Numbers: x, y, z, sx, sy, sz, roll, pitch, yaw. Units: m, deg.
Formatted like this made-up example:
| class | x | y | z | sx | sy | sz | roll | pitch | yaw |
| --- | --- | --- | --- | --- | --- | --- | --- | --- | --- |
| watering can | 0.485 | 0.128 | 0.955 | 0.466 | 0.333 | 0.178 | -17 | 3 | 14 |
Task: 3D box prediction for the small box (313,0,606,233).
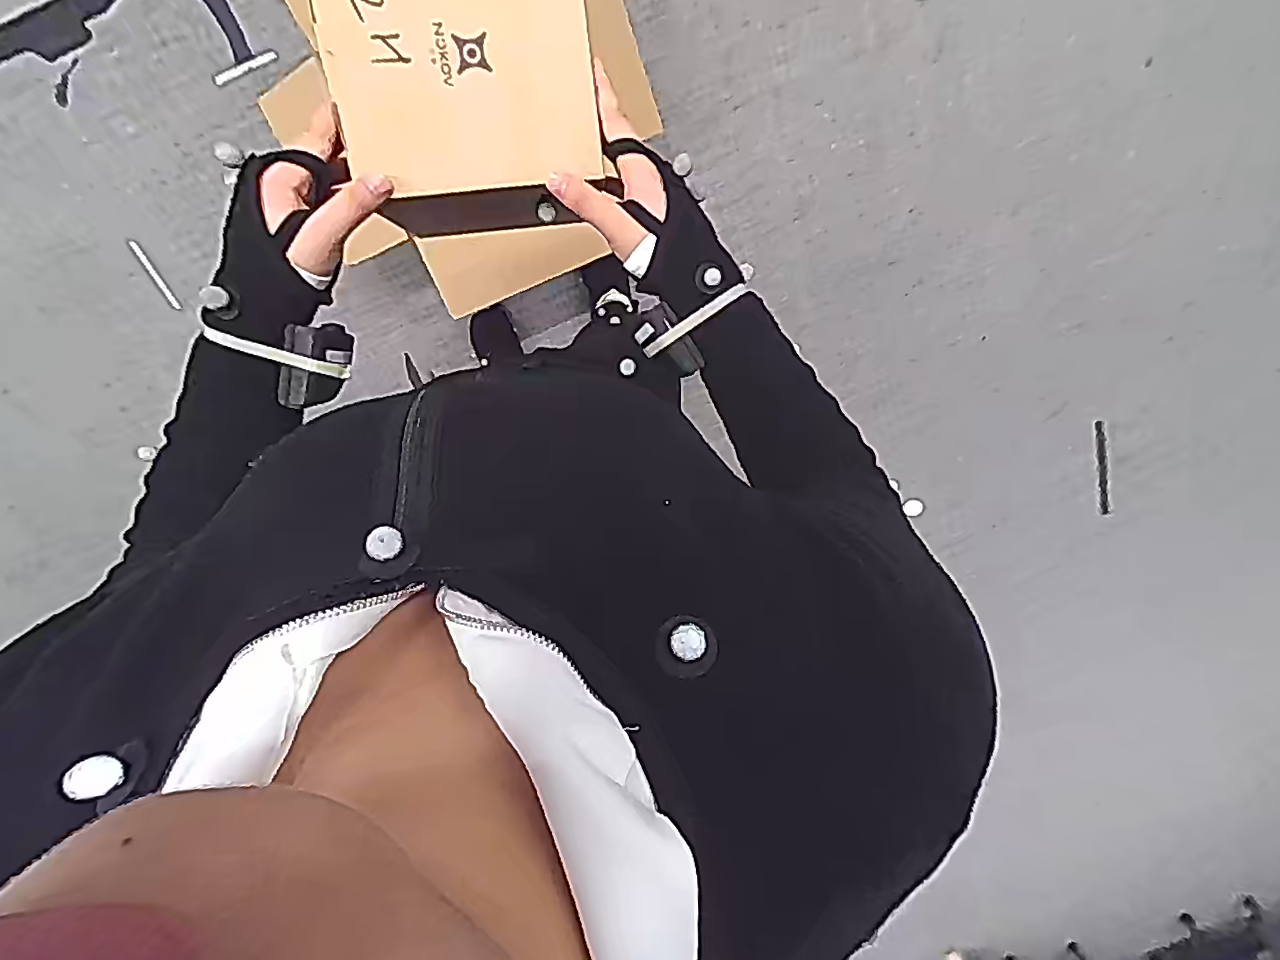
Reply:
| class | x | y | z | sx | sy | sz | roll | pitch | yaw |
| --- | --- | --- | --- | --- | --- | --- | --- | --- | --- |
| small box | -0.128 | -0.306 | 0.435 | 0.179 | 0.176 | 0.168 | -8 | 107 | -5 |
